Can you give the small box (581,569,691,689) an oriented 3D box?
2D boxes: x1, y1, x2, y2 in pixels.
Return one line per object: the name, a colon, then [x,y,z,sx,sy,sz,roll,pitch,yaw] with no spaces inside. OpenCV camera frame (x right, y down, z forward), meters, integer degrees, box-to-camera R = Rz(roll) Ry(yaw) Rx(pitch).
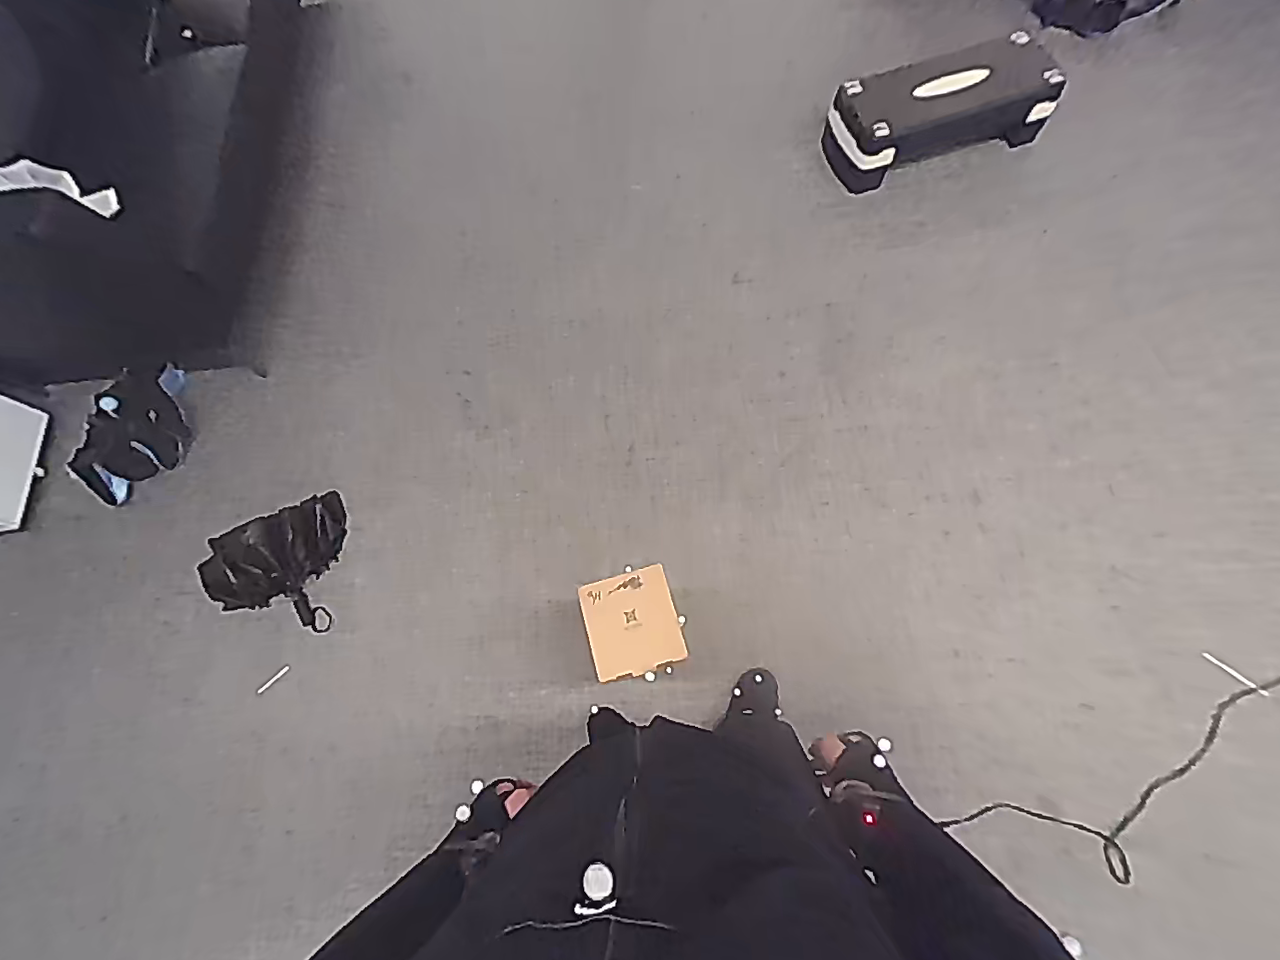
small box: [-0.001,0.287,1.039,0.168,0.176,0.179,-16,71,0]
